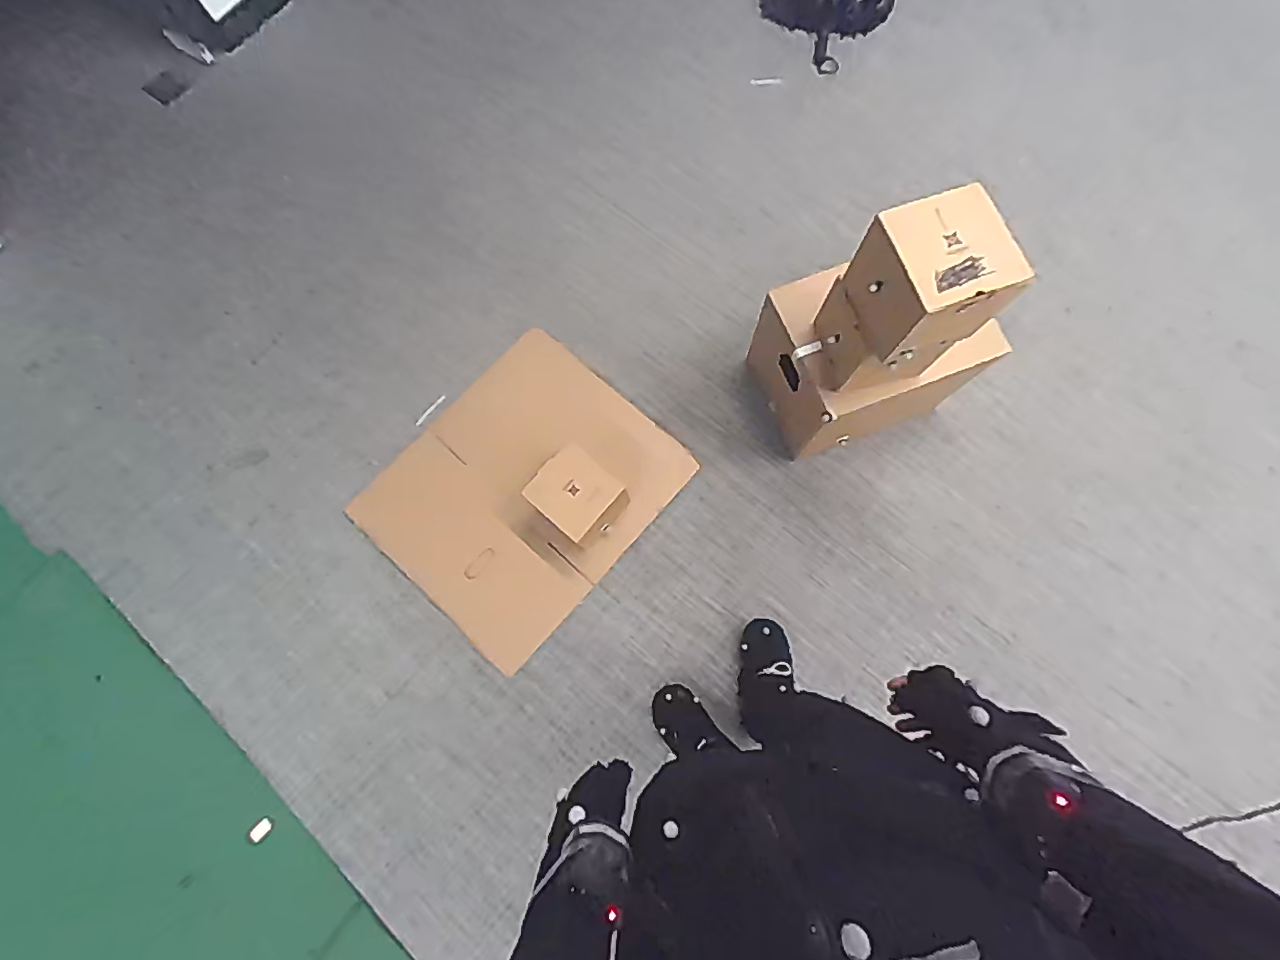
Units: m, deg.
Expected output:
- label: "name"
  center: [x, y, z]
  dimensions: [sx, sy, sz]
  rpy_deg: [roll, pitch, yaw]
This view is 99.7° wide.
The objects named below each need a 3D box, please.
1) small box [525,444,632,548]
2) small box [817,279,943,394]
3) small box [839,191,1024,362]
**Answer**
- label: "small box"
  center: [-0.137, 0.047, 1.278]
  dimensions: [0.179, 0.176, 0.168]
  rpy_deg: [39, 83, 11]
- label: "small box"
  center: [0.454, -0.283, 1.031]
  dimensions: [0.179, 0.176, 0.168]
  rpy_deg: [-15, 74, -2]
- label: "small box"
  center: [0.449, -0.310, 0.865]
  dimensions: [0.168, 0.176, 0.179]
  rpy_deg: [-21, 77, -2]
